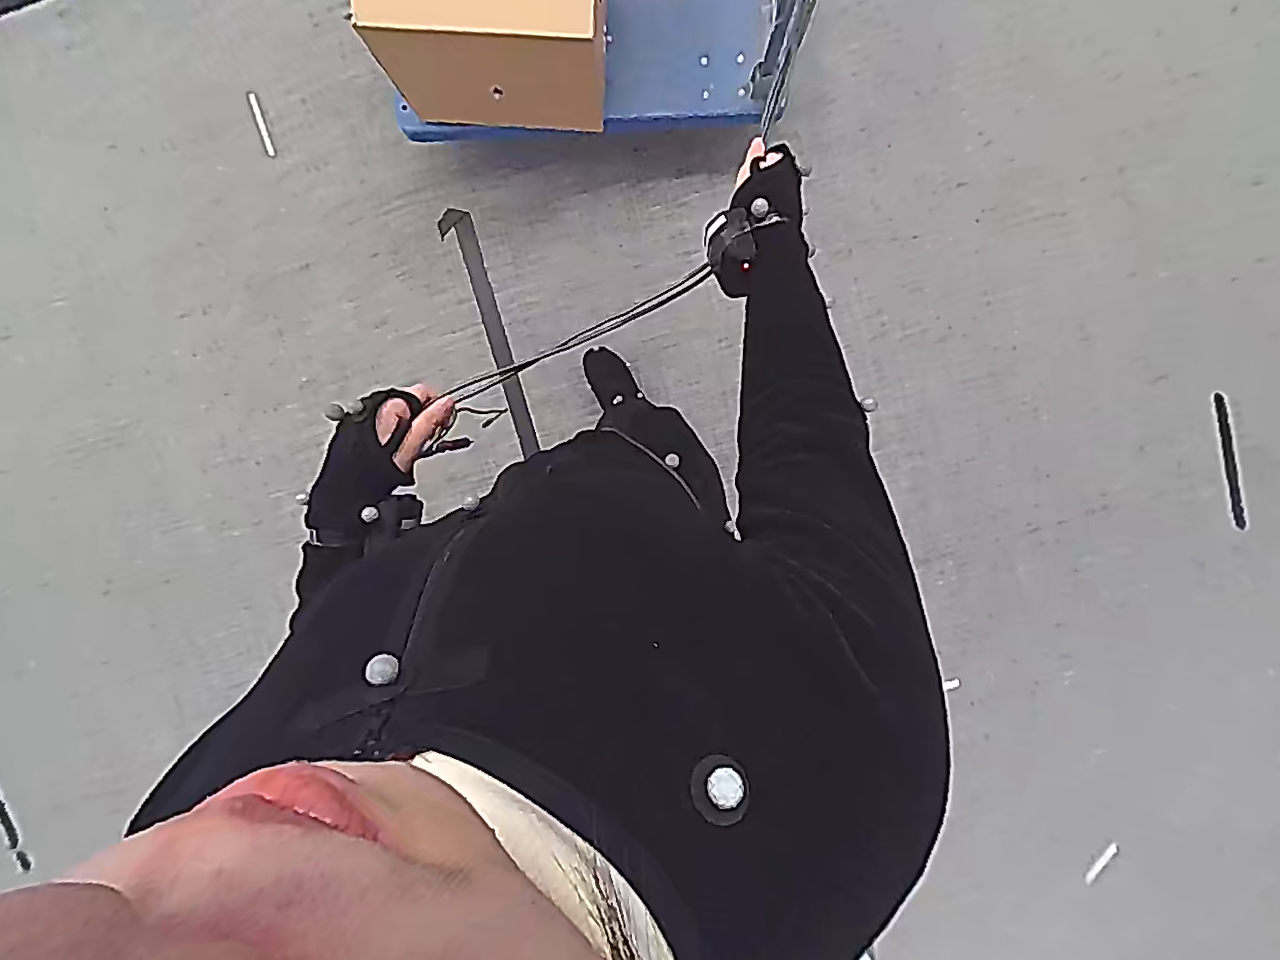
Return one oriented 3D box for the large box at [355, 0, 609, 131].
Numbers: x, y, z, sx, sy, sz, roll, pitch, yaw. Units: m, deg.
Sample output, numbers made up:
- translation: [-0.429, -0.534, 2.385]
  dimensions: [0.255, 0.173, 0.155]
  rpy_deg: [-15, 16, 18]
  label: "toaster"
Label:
- translation: [-0.266, -0.903, 1.023]
  dimensions: [0.408, 0.320, 0.320]
  rpy_deg: [2, 97, 0]
  label: "large box"
